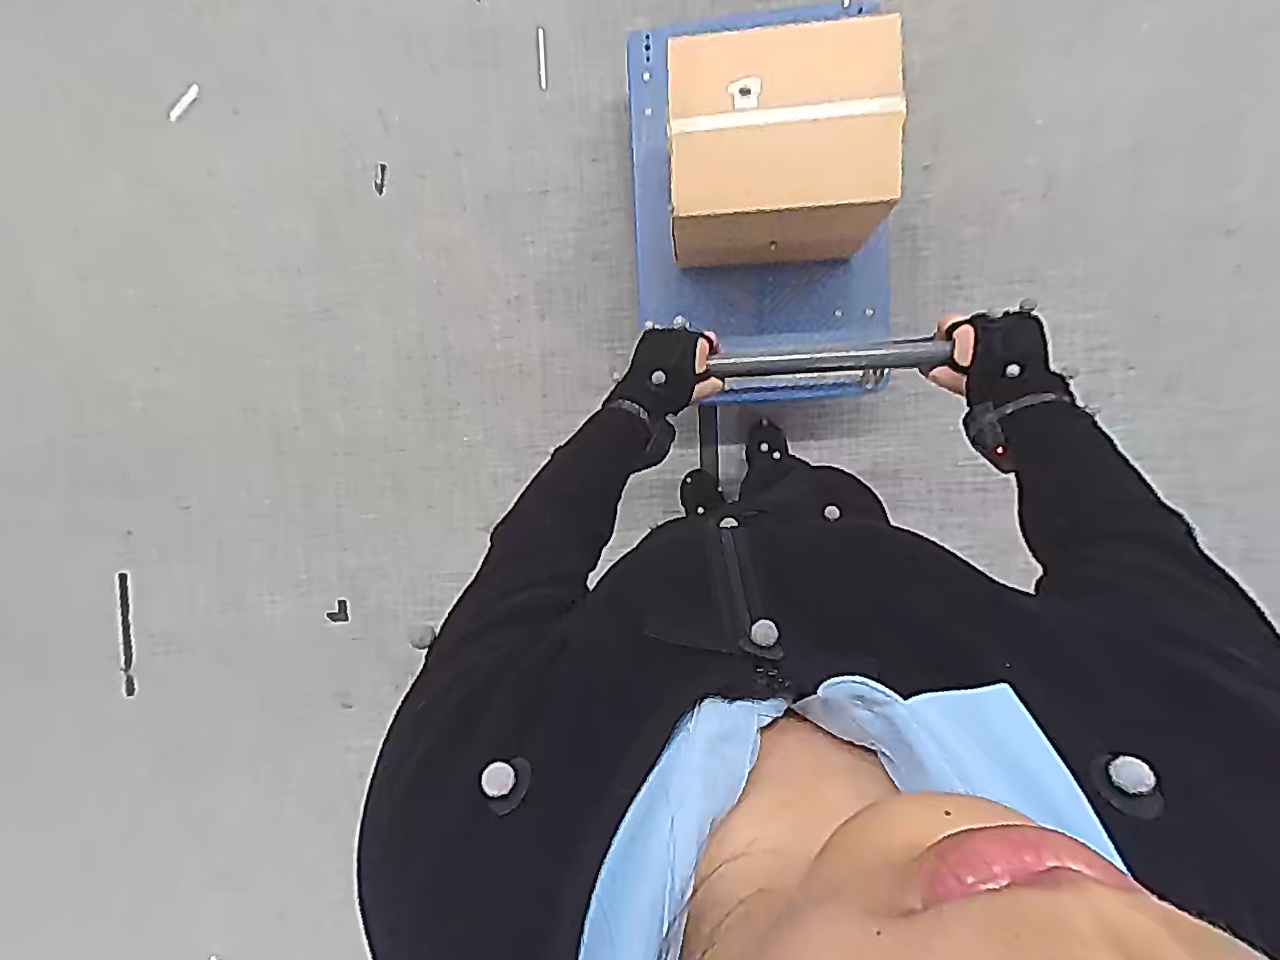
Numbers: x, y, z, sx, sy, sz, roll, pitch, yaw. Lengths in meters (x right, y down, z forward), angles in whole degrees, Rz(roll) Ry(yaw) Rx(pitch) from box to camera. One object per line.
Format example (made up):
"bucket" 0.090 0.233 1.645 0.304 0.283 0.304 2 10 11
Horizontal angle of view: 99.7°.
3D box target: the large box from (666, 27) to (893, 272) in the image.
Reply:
"large box" 0.272 -0.649 1.133 0.408 0.320 0.320 -2 93 7
